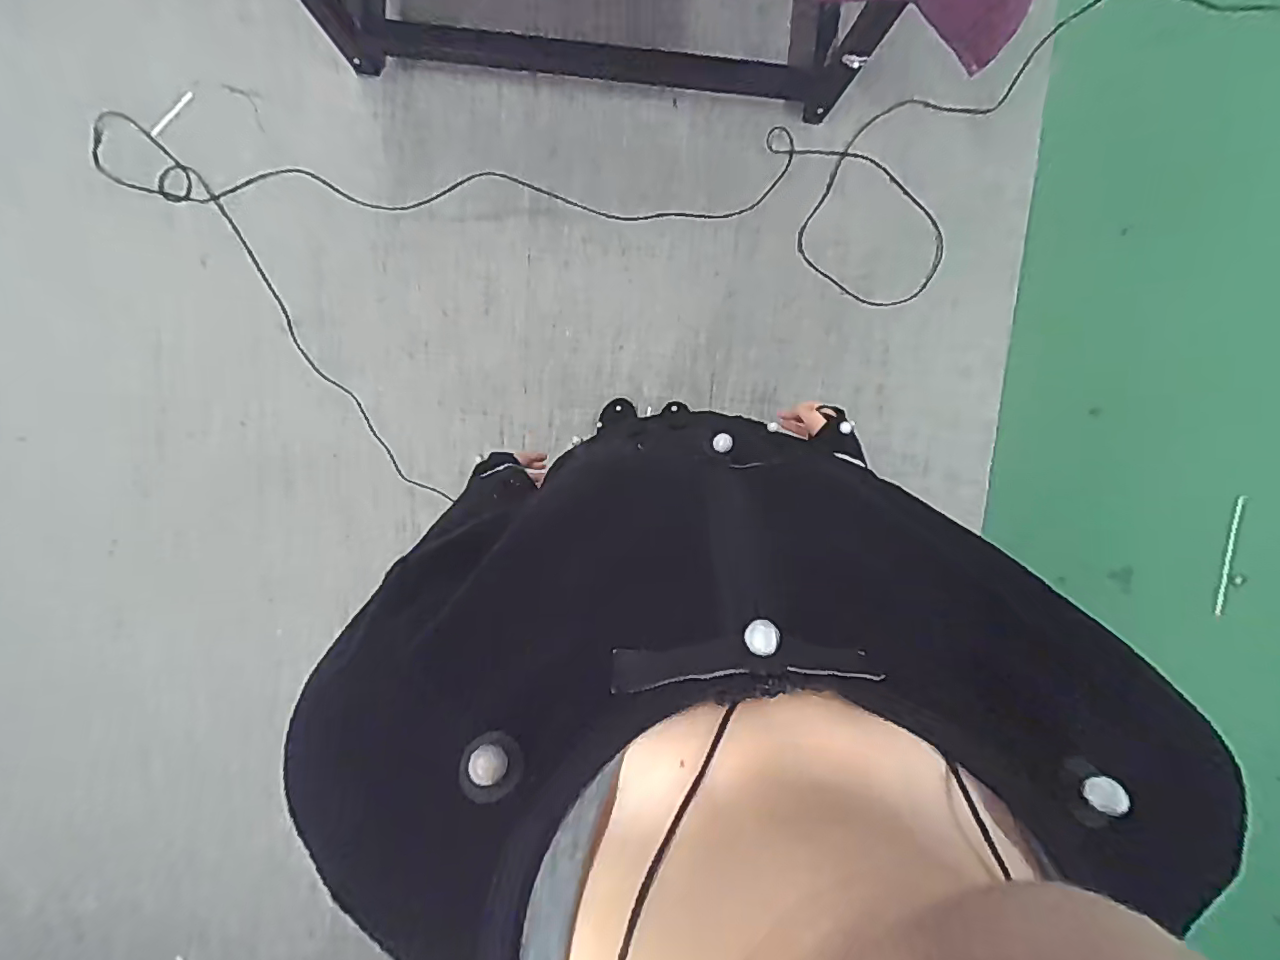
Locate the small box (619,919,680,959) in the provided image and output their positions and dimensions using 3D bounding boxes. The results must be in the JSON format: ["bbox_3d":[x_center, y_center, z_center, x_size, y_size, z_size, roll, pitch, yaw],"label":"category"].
[{"bbox_3d":[0.027,1.459,1.611,0.179,0.176,0.168,-2,98,-4],"label":"small box"}]
